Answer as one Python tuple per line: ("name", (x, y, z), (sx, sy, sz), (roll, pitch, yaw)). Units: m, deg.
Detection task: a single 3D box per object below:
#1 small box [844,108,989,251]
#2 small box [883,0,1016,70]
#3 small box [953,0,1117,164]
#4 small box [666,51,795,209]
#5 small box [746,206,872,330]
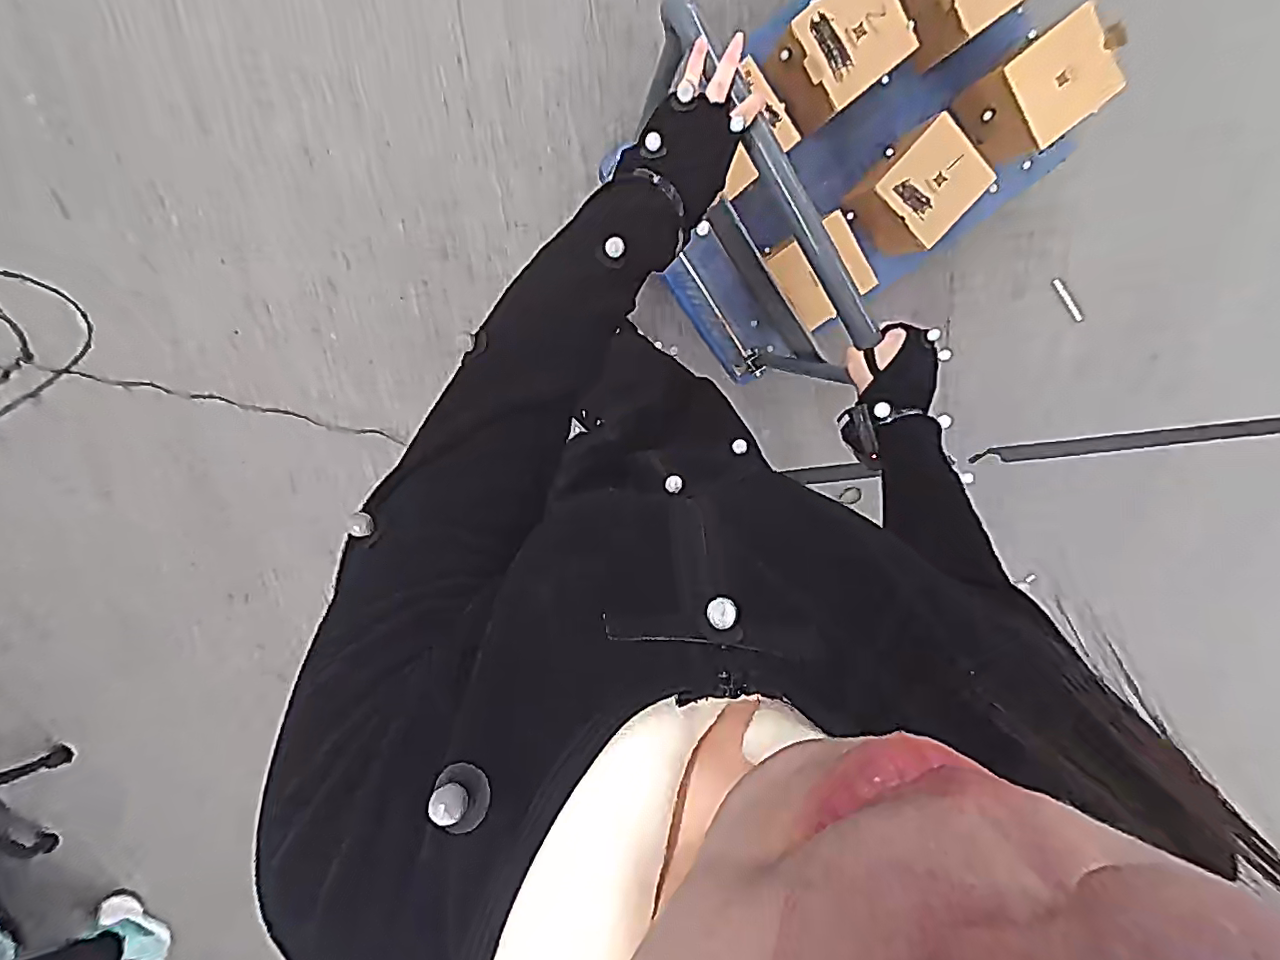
("small box", (0.542, -0.591, 1.095), (0.168, 0.176, 0.179), (40, 100, -15))
("small box", (0.588, -0.913, 0.992), (0.179, 0.176, 0.168), (-34, 107, 7))
("small box", (0.753, -0.759, 1.056), (0.179, 0.176, 0.168), (-38, 106, 8))
("small box", (0.163, -0.658, 1.046), (0.179, 0.176, 0.168), (-38, 107, 9))
("small box", (0.340, -0.434, 1.132), (0.179, 0.176, 0.168), (-35, 107, 7))
